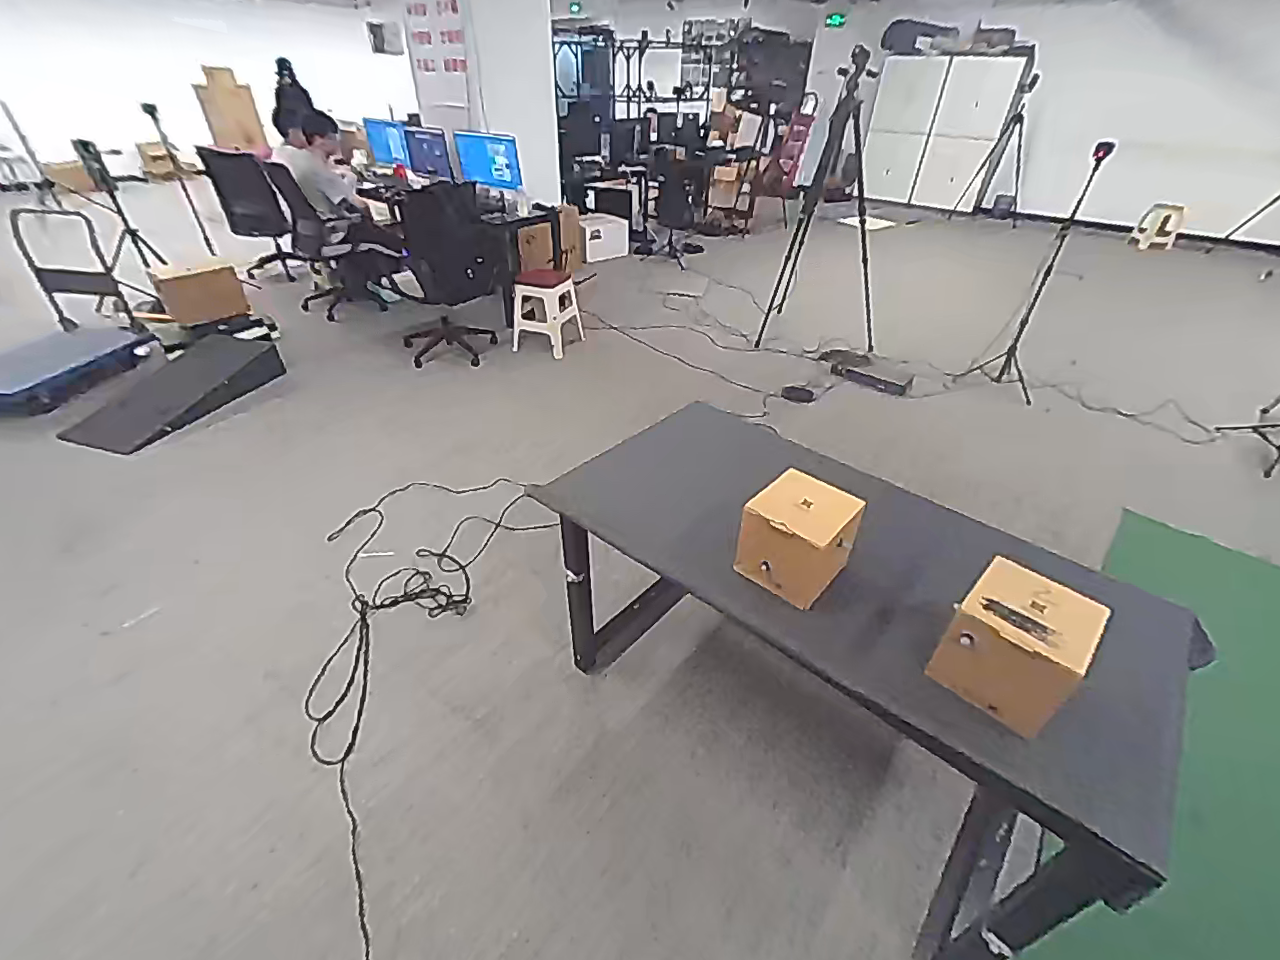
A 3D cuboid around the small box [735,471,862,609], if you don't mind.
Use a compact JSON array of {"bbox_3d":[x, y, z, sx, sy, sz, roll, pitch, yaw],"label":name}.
[{"bbox_3d":[0.305,0.115,1.068,0.168,0.176,0.179,30,45,31],"label":"small box"}]
